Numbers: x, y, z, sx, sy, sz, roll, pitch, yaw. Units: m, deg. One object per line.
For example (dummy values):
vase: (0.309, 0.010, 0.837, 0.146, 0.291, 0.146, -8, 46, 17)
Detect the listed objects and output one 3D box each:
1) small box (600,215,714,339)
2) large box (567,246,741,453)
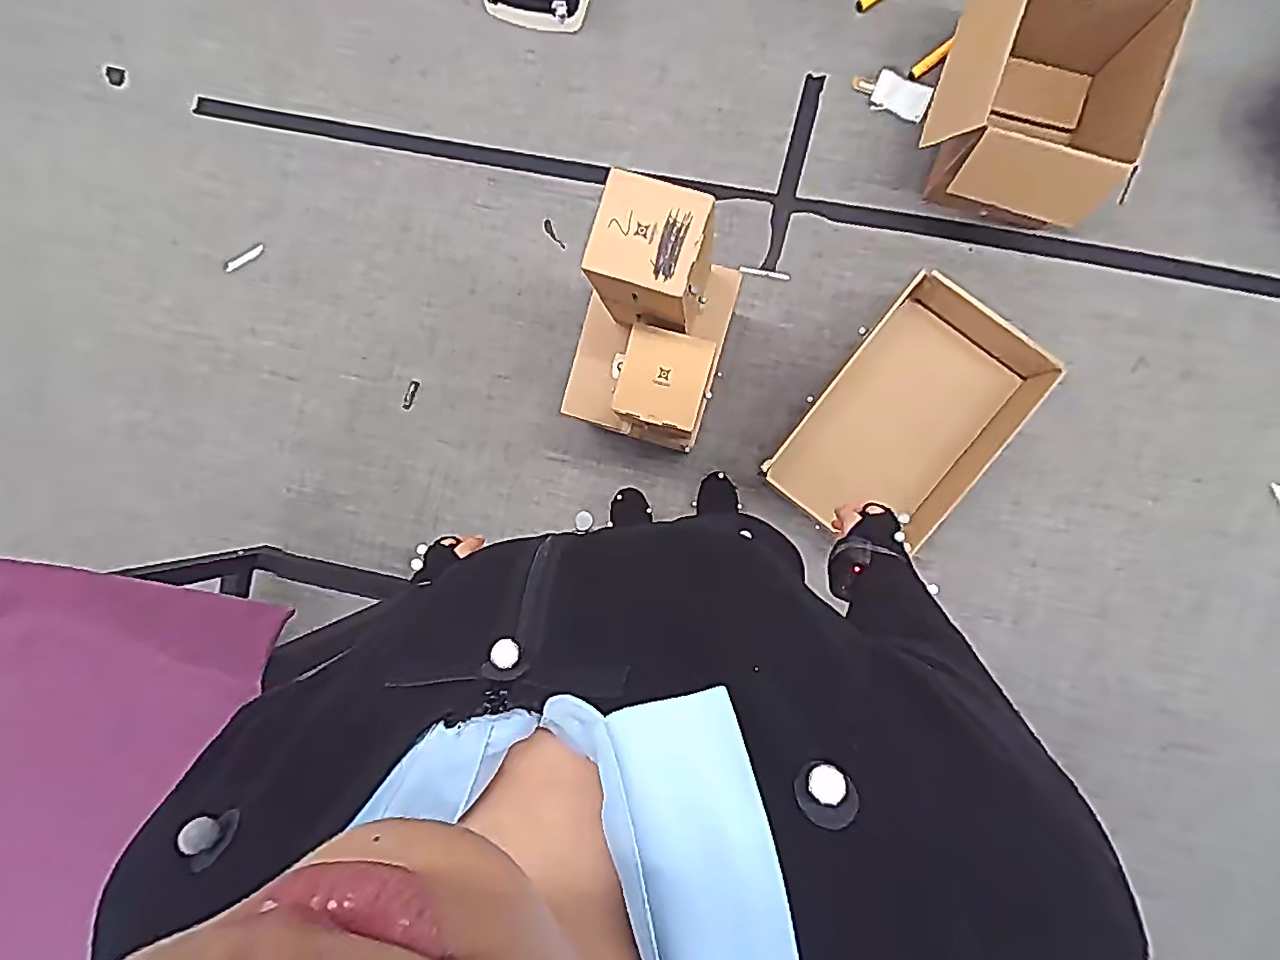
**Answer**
small box: (0.039, -0.398, 1.091, 0.179, 0.176, 0.168, 18, 95, 5)
large box: (0.042, -0.298, 1.340, 0.320, 0.320, 0.408, 15, 94, 6)
